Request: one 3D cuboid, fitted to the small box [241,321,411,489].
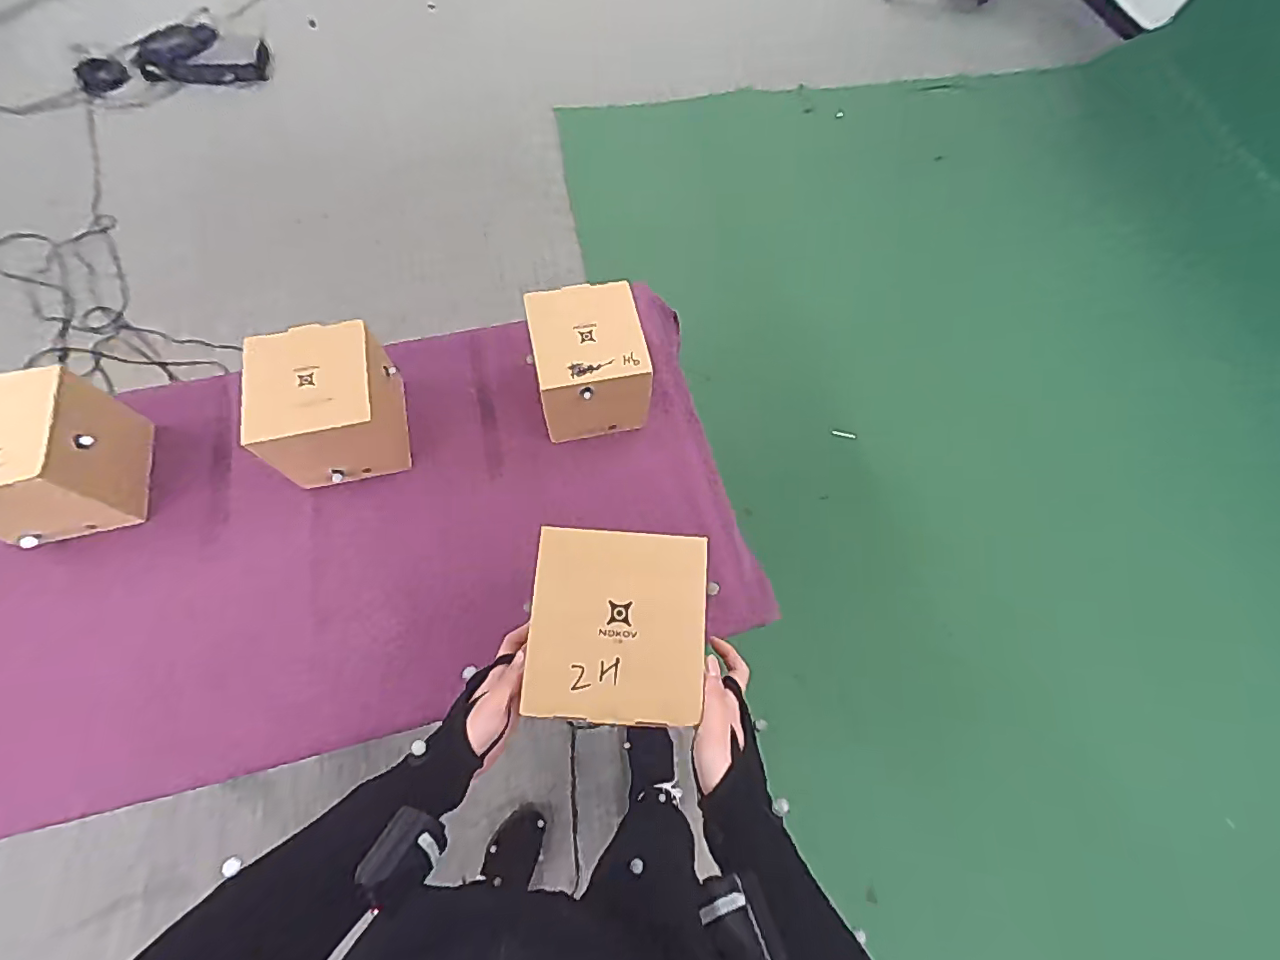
[{"bbox_3d":[-0.464,-0.108,0.819,0.168,0.176,0.179,-12,69,-7],"label":"small box"}]

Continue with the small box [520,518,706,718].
[{"bbox_3d":[-0.023,0.150,0.585,0.168,0.176,0.179,3,73,1],"label":"small box"}]

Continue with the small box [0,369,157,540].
[{"bbox_3d":[-0.836,-0.025,0.763,0.168,0.176,0.179,-13,68,-8],"label":"small box"}]

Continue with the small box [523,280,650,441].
[{"bbox_3d":[-0.085,-0.187,0.870,0.168,0.176,0.179,-11,68,-6],"label":"small box"}]
